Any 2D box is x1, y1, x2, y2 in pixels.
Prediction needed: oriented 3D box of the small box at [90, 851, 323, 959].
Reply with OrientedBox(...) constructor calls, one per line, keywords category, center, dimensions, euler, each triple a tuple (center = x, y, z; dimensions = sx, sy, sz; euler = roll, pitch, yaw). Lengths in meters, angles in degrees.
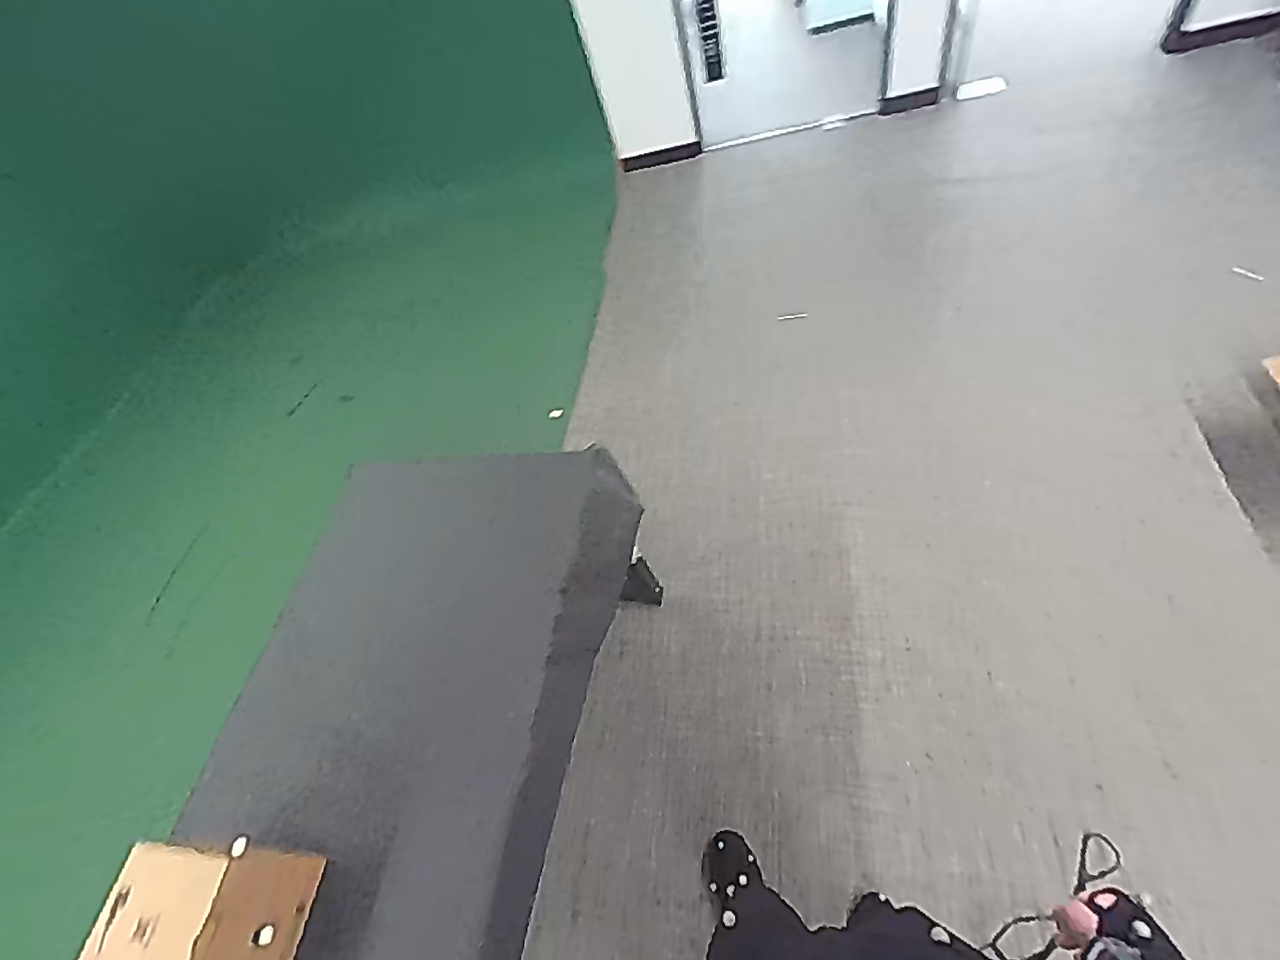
OrientedBox(category="small box", center=(-0.572, 0.604, 0.723), dimensions=(0.179, 0.176, 0.168), euler=(-7, 56, 14))
